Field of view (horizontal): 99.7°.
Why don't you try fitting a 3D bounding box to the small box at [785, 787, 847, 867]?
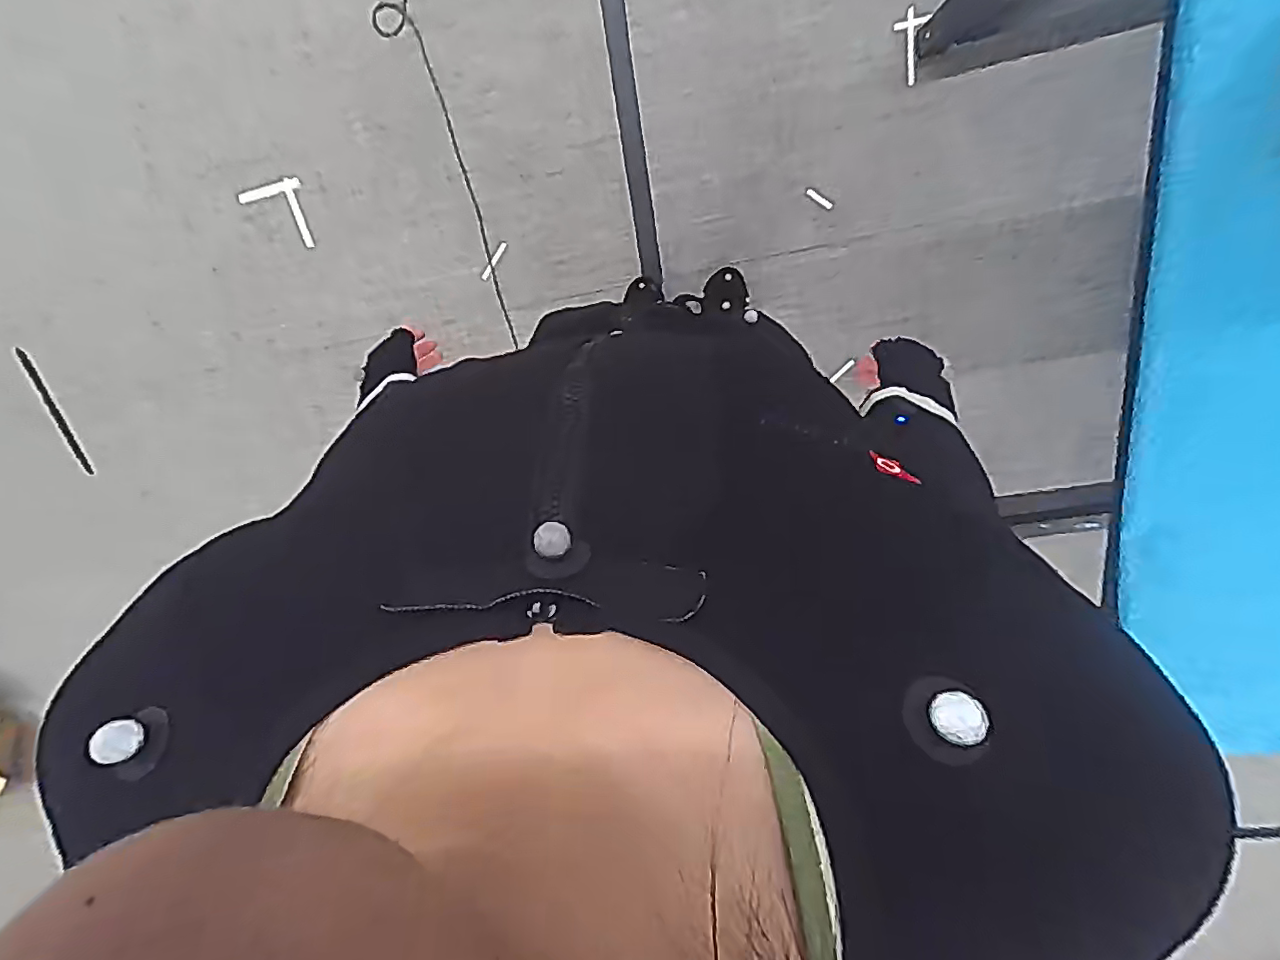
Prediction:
[{"bbox_3d":[0.596,1.174,1.839,0.168,0.176,0.179,-9,111,10],"label":"small box"}]
